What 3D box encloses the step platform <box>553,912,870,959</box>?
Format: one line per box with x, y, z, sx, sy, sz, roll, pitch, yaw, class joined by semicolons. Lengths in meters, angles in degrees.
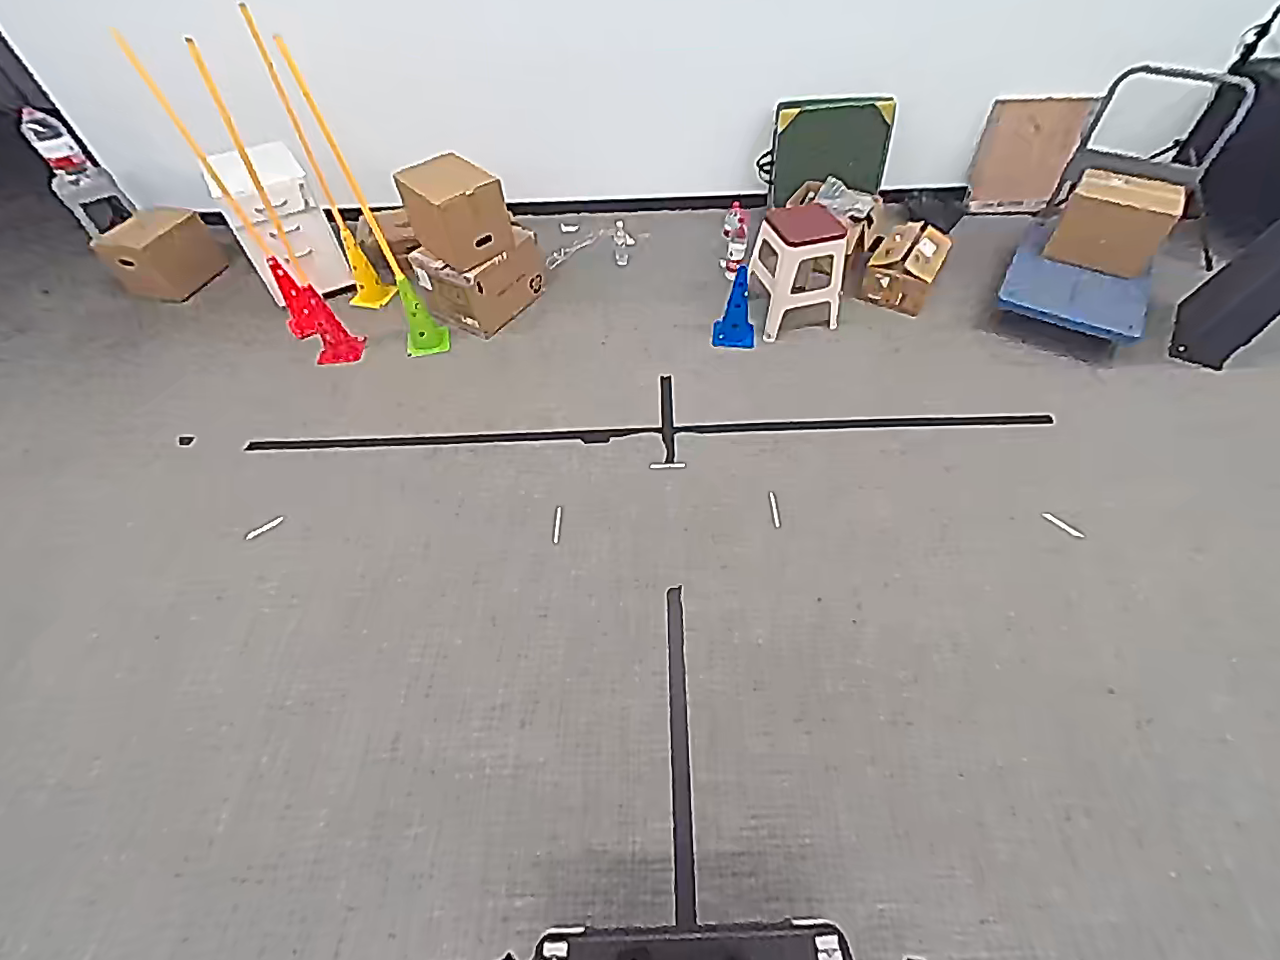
0.148;1.095;1.120;0.684;0.204;0.286;-2;52;-1;step platform
